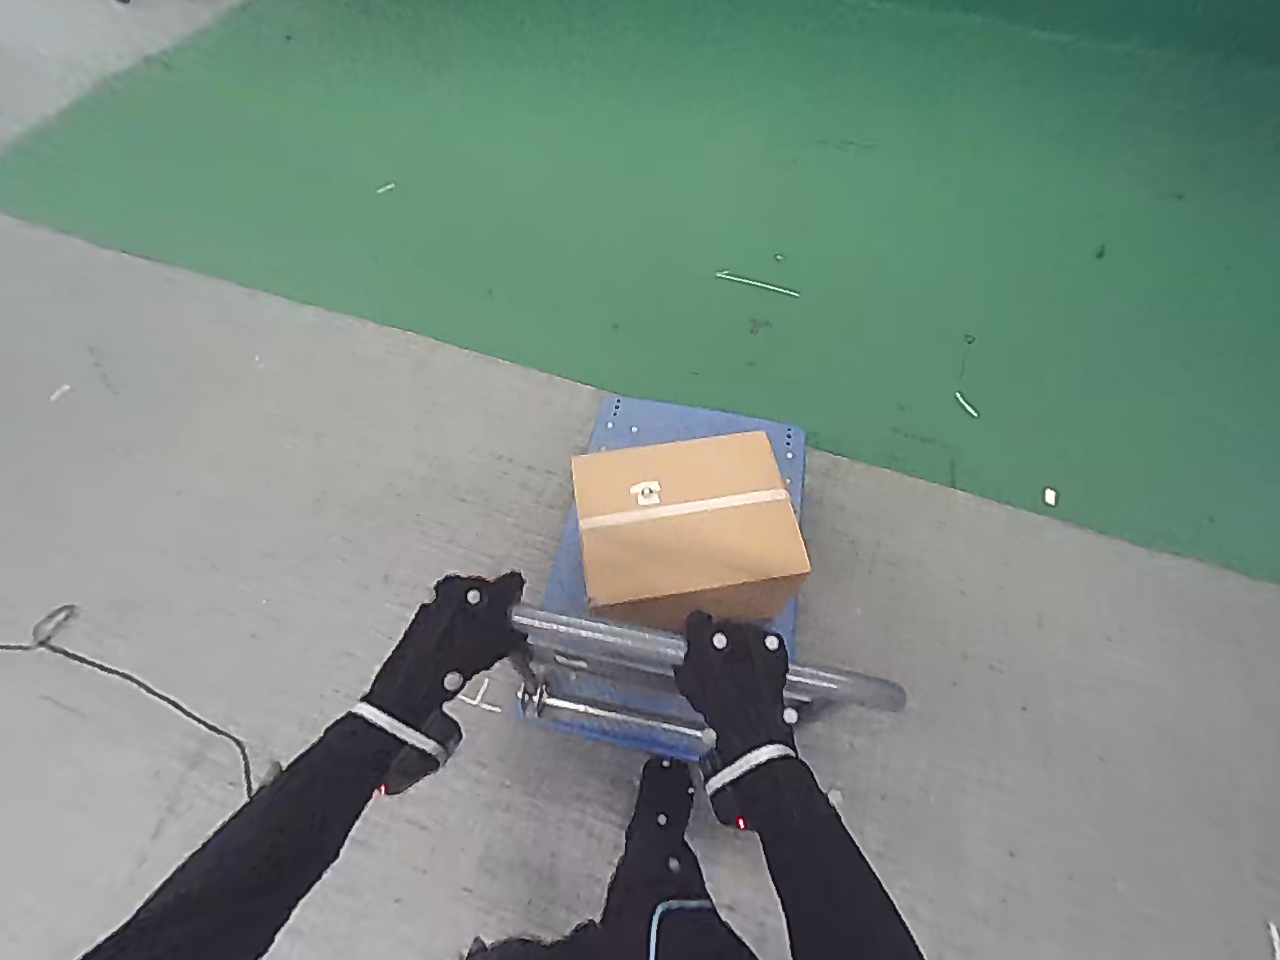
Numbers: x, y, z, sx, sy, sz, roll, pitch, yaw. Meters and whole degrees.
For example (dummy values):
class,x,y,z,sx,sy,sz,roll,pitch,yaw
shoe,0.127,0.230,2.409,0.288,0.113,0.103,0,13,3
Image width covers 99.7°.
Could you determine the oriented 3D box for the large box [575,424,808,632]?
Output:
class,x,y,z,sx,sy,sz,roll,pitch,yaw
large box,0.090,0.115,1.164,0.408,0.320,0.320,-8,62,-4
